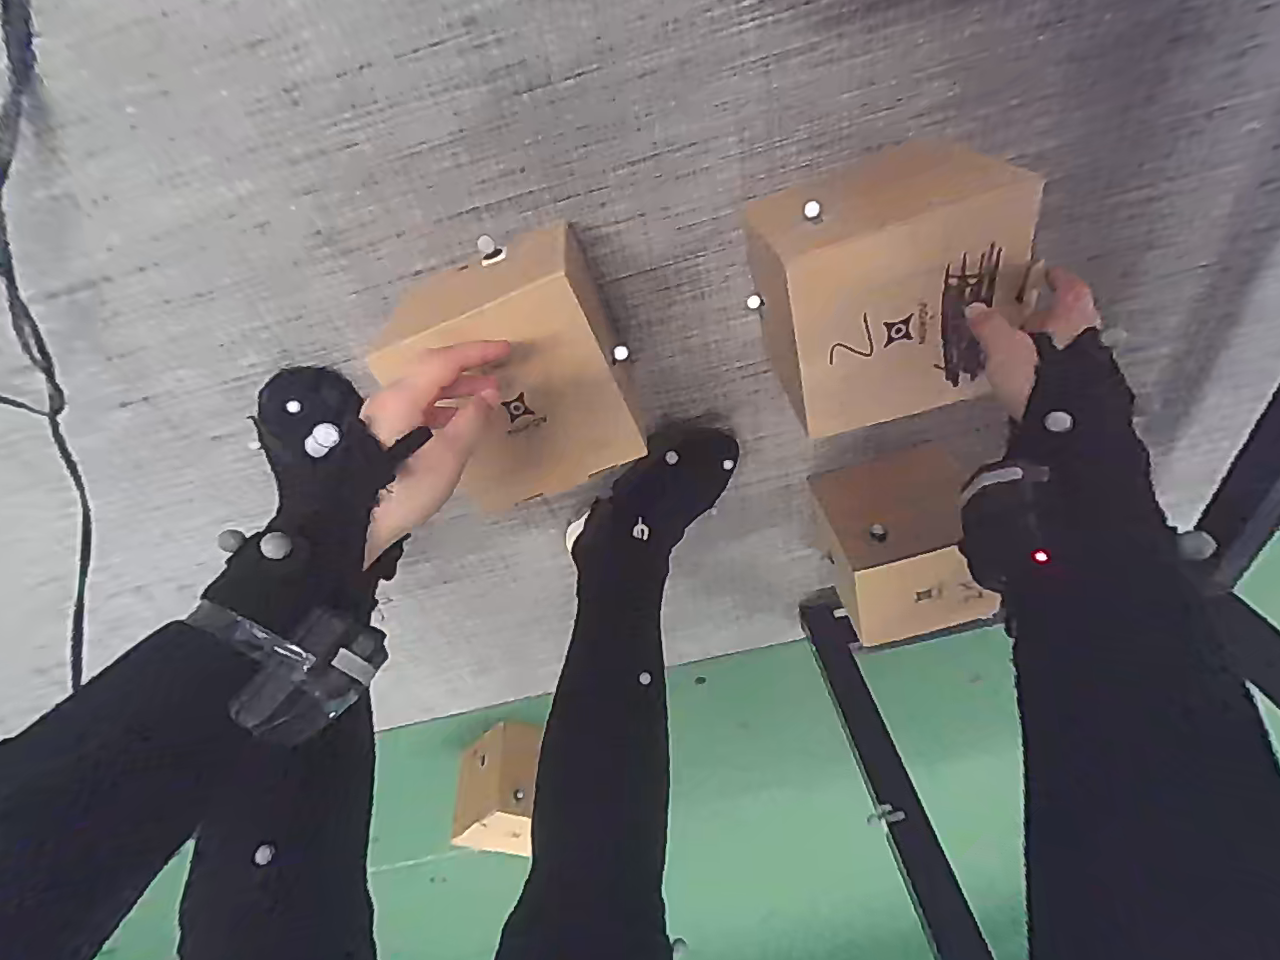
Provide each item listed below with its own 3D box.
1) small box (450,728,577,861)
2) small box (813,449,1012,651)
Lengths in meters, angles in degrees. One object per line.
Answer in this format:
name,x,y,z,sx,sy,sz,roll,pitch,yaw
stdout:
small box,-0.237,0.609,1.052,0.179,0.176,0.168,32,119,-27
small box,0.338,0.088,0.704,0.179,0.176,0.168,-18,129,8
